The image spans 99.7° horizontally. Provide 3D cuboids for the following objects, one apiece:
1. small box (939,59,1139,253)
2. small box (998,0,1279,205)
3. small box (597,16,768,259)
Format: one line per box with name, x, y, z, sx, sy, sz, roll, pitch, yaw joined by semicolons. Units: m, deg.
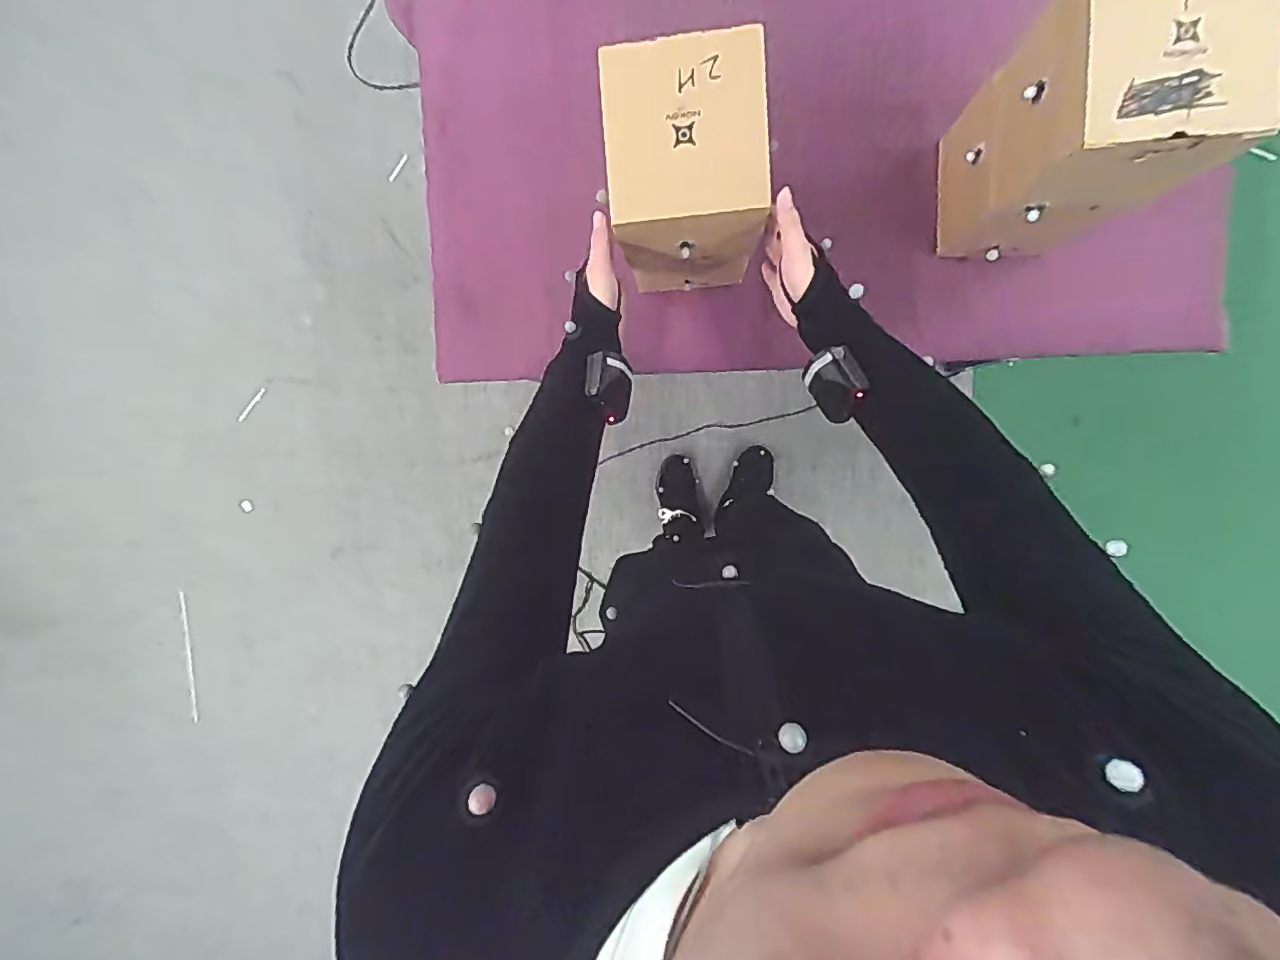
small box;0.523;-0.422;0.724;0.168;0.176;0.179;1;95;8
small box;0.502;-0.405;0.562;0.168;0.176;0.179;0;93;8
small box;0.051;-0.363;0.614;0.168;0.176;0.179;-3;95;6
